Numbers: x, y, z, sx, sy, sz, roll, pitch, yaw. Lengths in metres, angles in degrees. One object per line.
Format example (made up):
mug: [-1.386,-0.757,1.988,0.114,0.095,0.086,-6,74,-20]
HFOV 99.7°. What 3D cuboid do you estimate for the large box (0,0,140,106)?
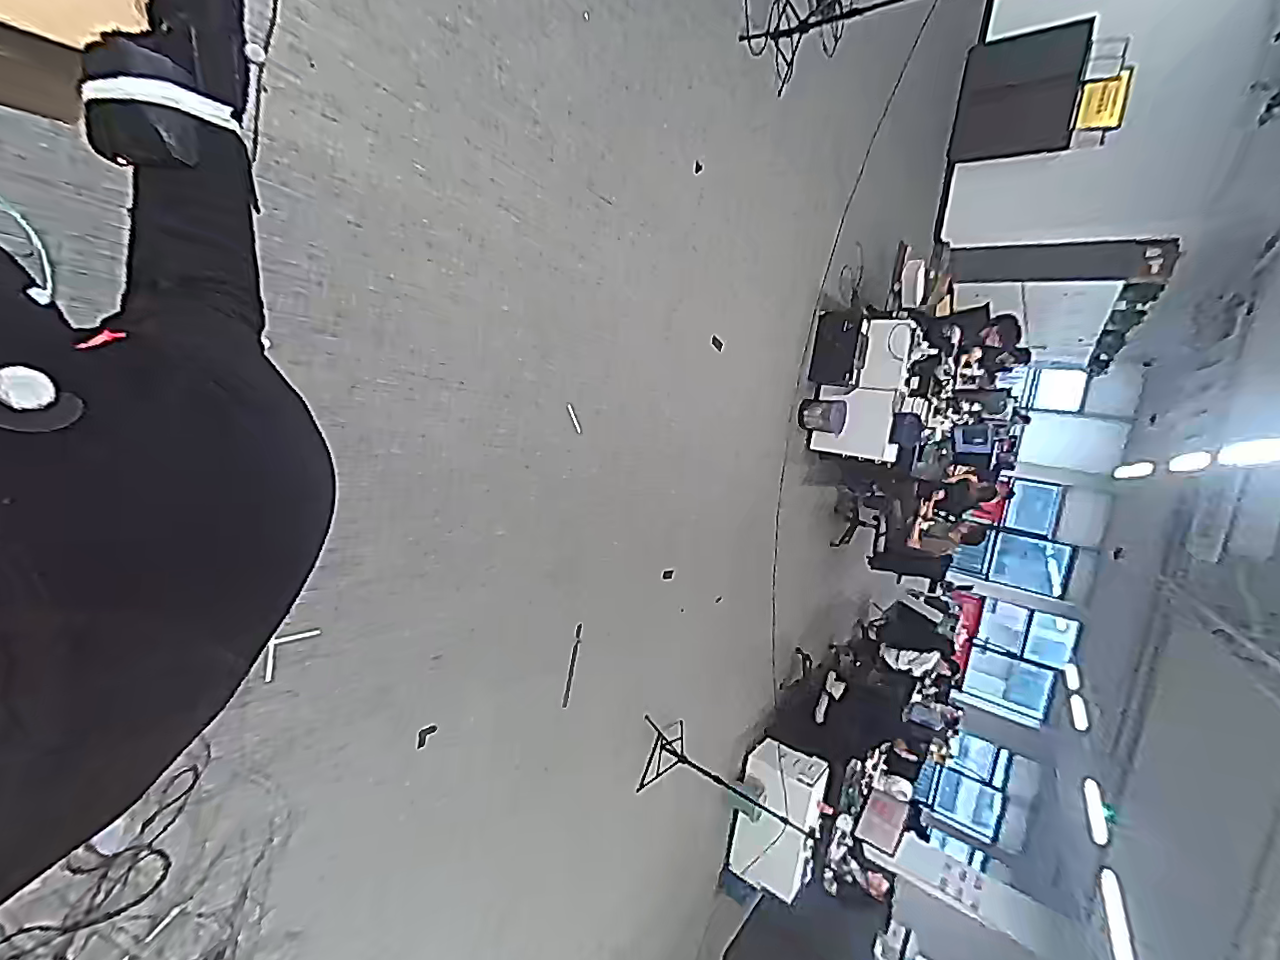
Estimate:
large box: [-0.562,-0.446,0.262,0.408,0.320,0.320,-12,116,-52]
